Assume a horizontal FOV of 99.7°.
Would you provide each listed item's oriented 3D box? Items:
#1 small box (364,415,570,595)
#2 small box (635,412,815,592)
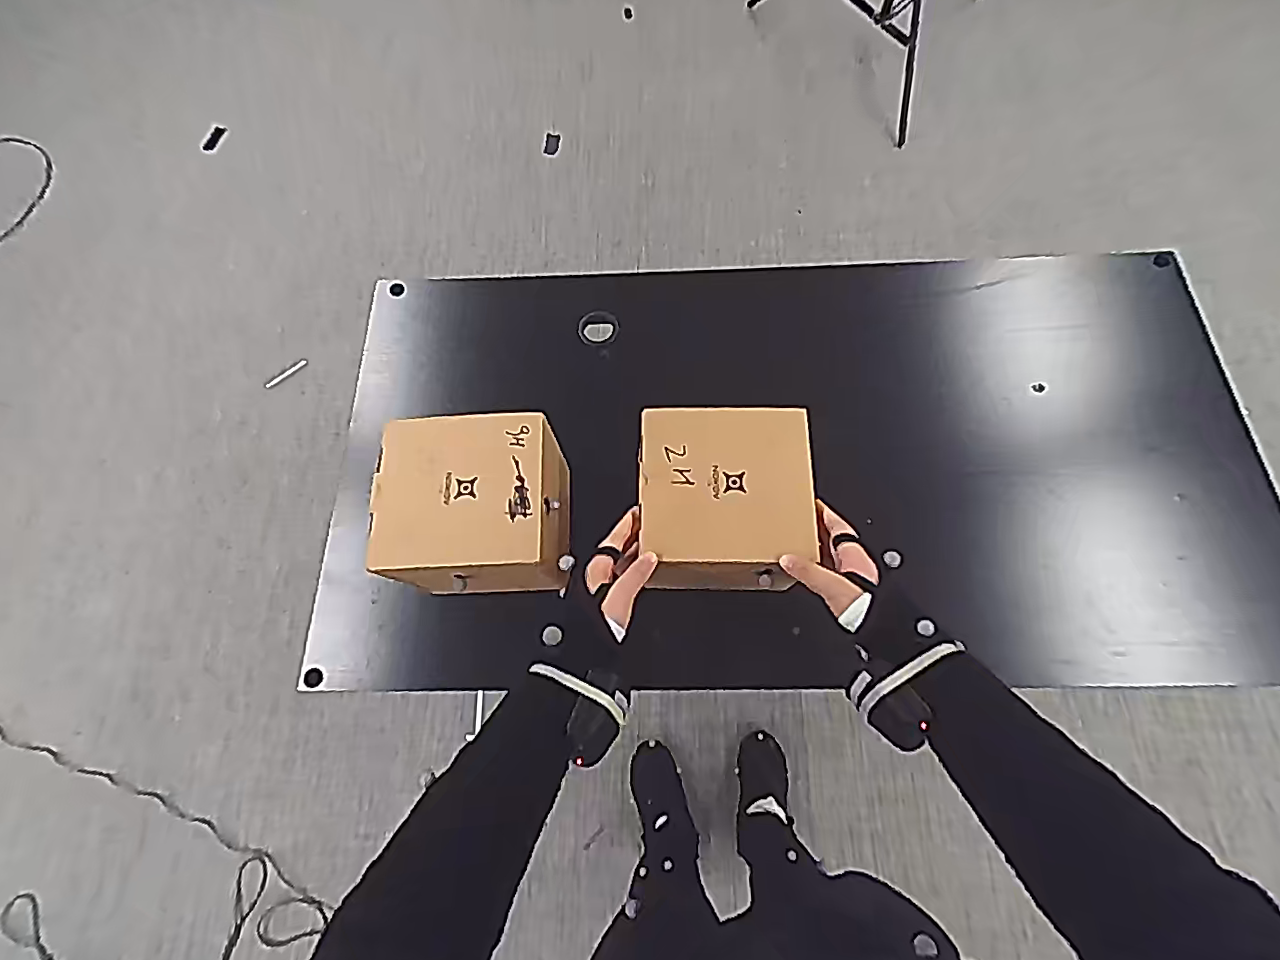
[{"bbox_3d":[-0.185,0.039,0.633,0.179,0.176,0.168,-3,70,2],"label":"small box"},{"bbox_3d":[0.087,0.033,0.621,0.179,0.176,0.168,0,70,4],"label":"small box"}]
